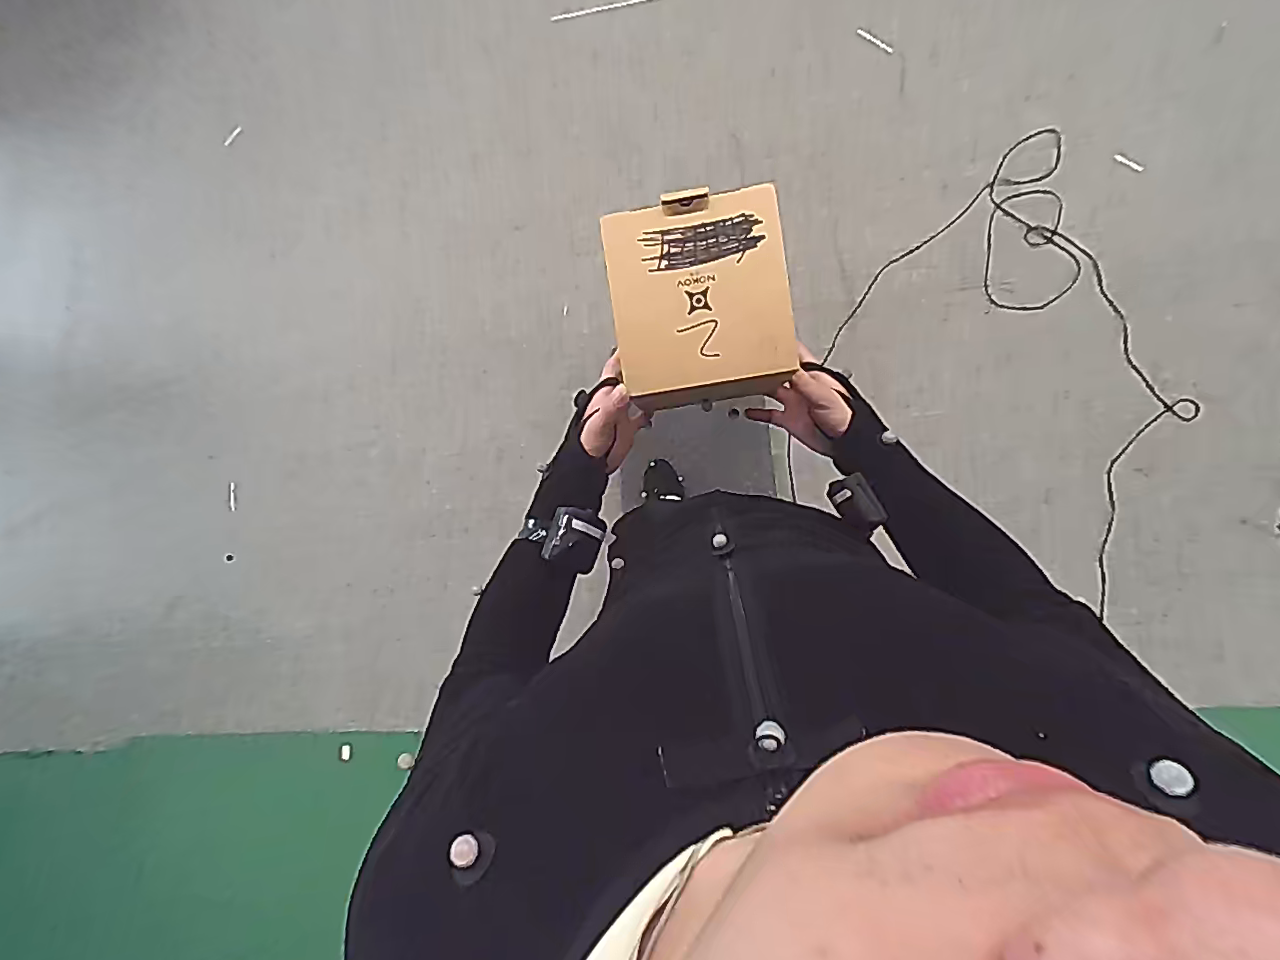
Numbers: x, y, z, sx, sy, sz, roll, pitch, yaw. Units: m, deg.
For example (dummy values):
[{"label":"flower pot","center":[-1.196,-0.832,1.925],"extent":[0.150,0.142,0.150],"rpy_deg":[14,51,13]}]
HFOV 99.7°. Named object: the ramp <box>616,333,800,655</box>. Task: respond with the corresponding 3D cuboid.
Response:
[{"label":"ramp","center":[0.185,0.018,1.698],"extent":[0.509,0.206,0.991],"rpy_deg":[-7,85,8]}]
